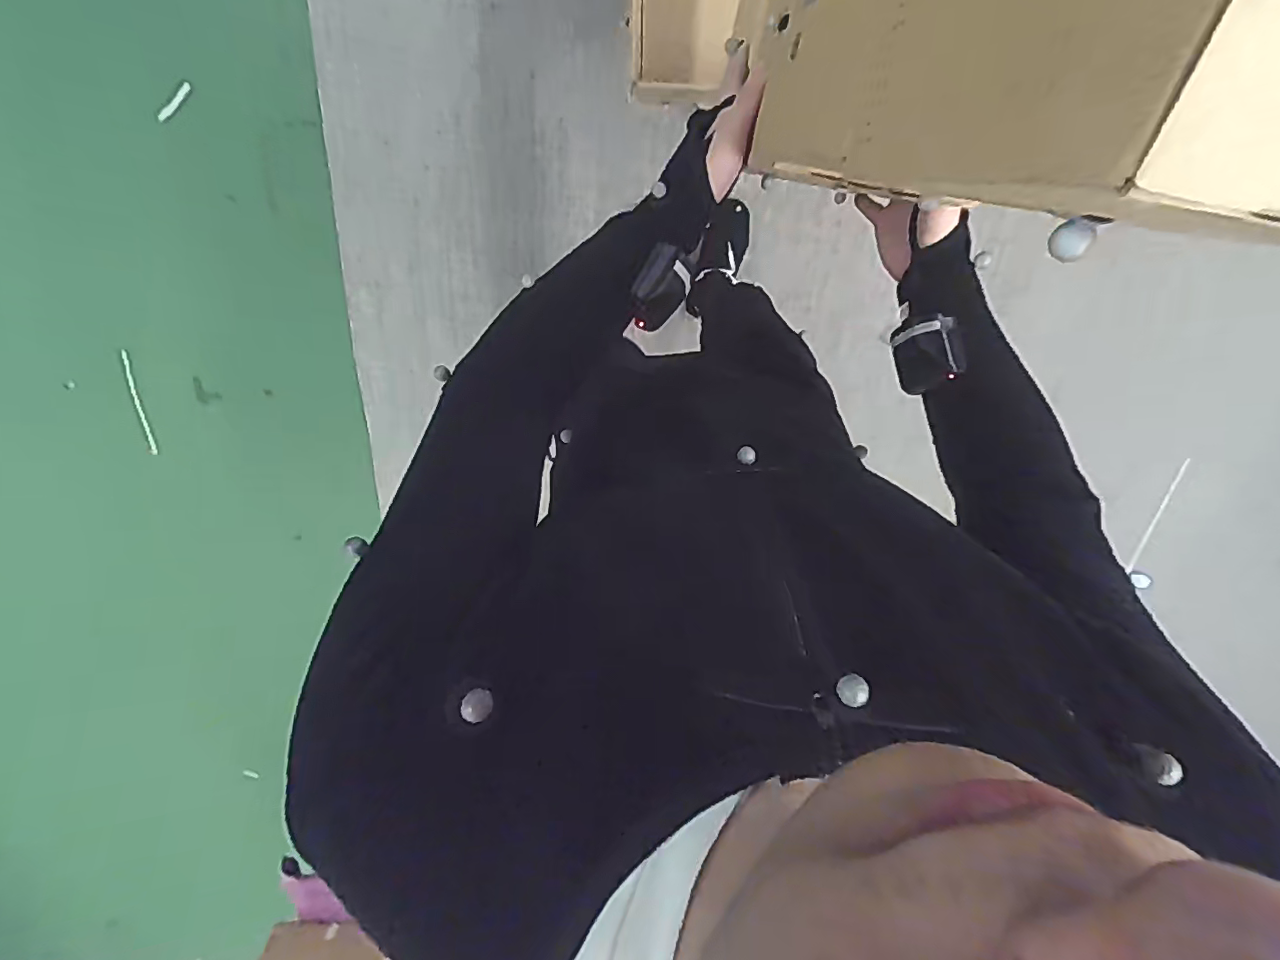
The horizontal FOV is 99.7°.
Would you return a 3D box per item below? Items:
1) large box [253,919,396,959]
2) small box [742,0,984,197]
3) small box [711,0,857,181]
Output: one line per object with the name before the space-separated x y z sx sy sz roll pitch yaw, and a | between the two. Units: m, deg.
large box | -0.826 1.402 1.368 0.320 0.320 0.408 4 115 -4
small box | 0.188 -0.338 0.423 0.168 0.176 0.179 8 120 -7
small box | 0.181 -0.418 0.566 0.179 0.176 0.168 7 120 -6
